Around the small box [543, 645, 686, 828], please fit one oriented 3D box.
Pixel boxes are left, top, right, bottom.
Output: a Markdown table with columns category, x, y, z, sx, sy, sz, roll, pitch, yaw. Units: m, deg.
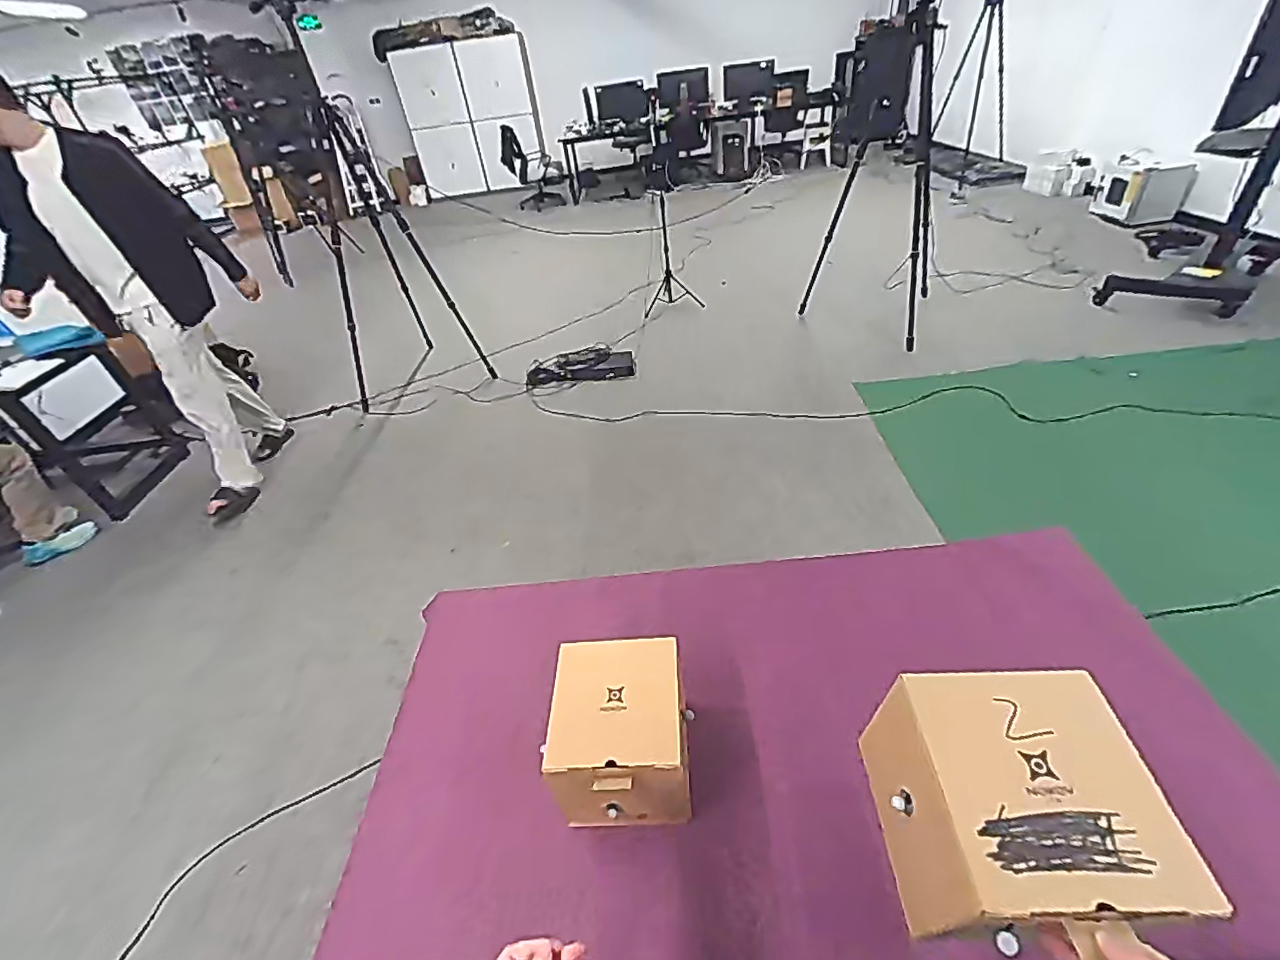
| category | x | y | z | sx | sy | sz | roll | pitch | yaw |
| --- | --- | --- | --- | --- | --- | --- | --- | --- | --- |
| small box | -0.025 | 0.355 | 0.752 | 0.168 | 0.176 | 0.179 | -5 | 39 | 5 |
